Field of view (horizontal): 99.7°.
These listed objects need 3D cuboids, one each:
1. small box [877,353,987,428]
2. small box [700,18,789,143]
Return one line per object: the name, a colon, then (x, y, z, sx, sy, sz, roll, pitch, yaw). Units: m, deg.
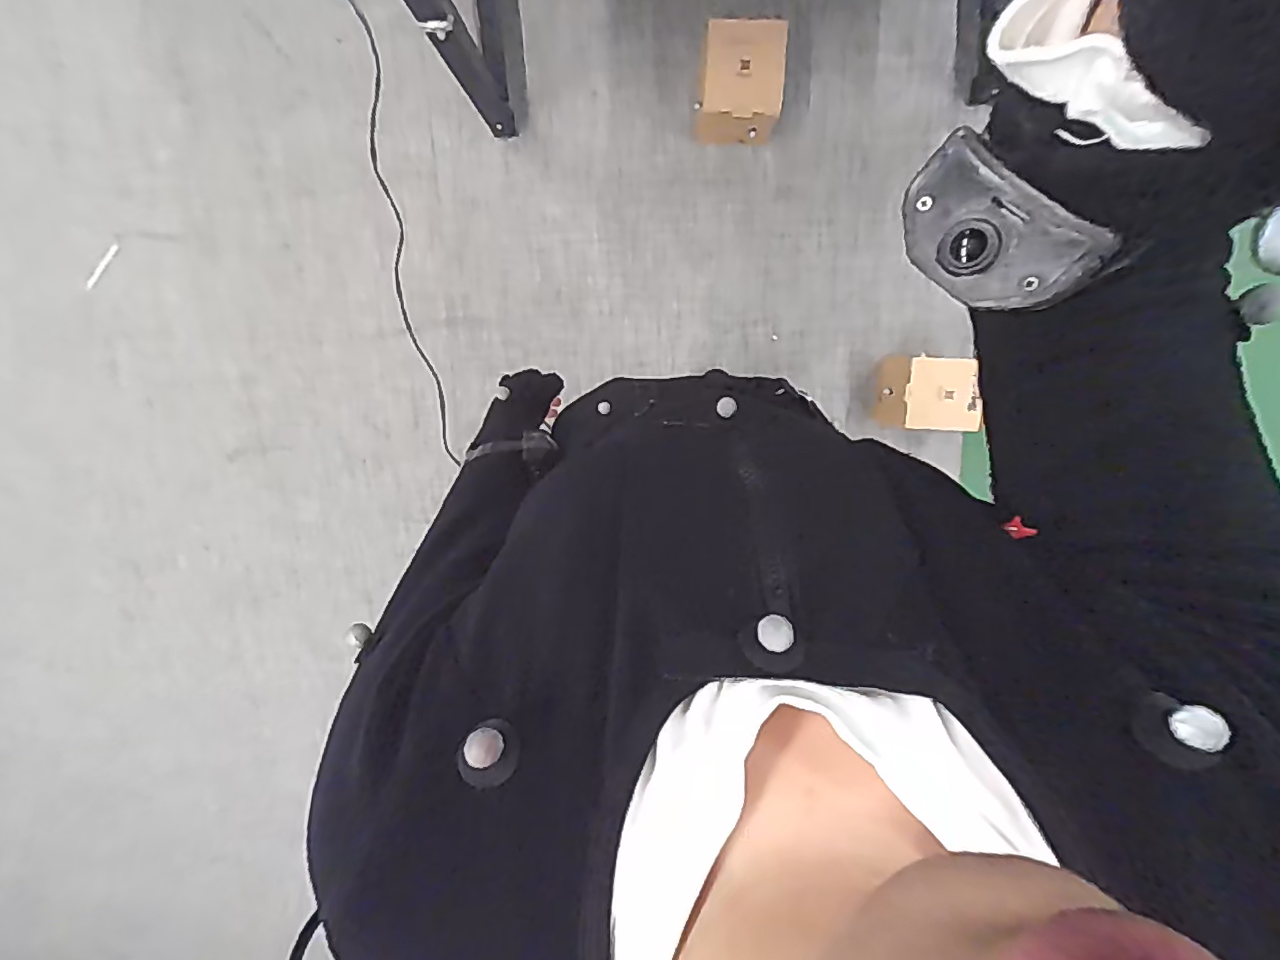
small box: (0.703, -0.220, 1.326, 0.179, 0.176, 0.168, 3, 101, 2)
small box: (0.225, -0.879, 1.208, 0.168, 0.176, 0.179, 2, 100, 1)
